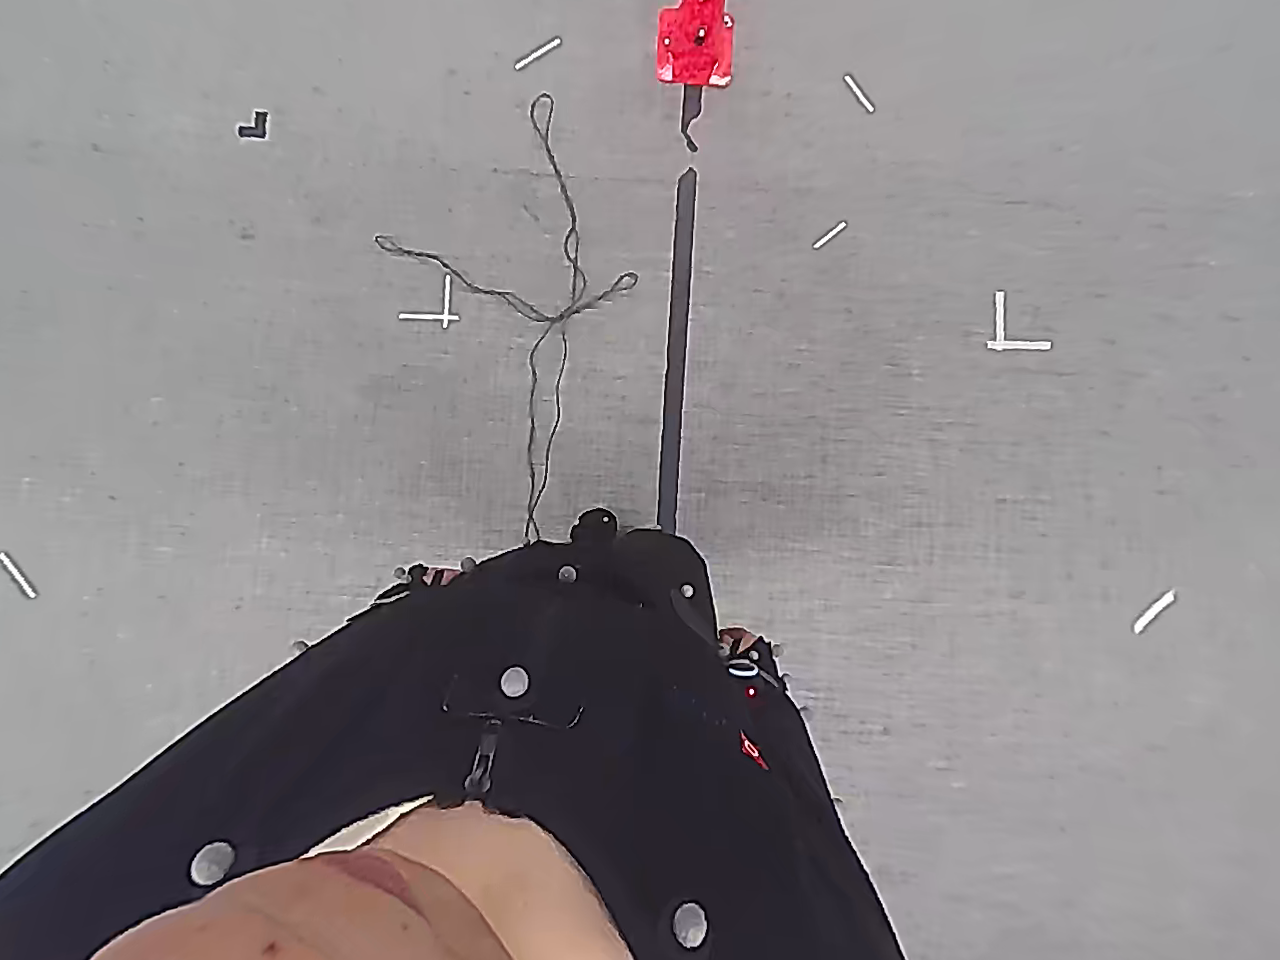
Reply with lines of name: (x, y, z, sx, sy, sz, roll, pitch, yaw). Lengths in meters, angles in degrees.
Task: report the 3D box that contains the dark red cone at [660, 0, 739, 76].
dark red cone: (0.155, -1.151, 1.230, 0.201, 0.394, 0.202, 3, 89, -1)
